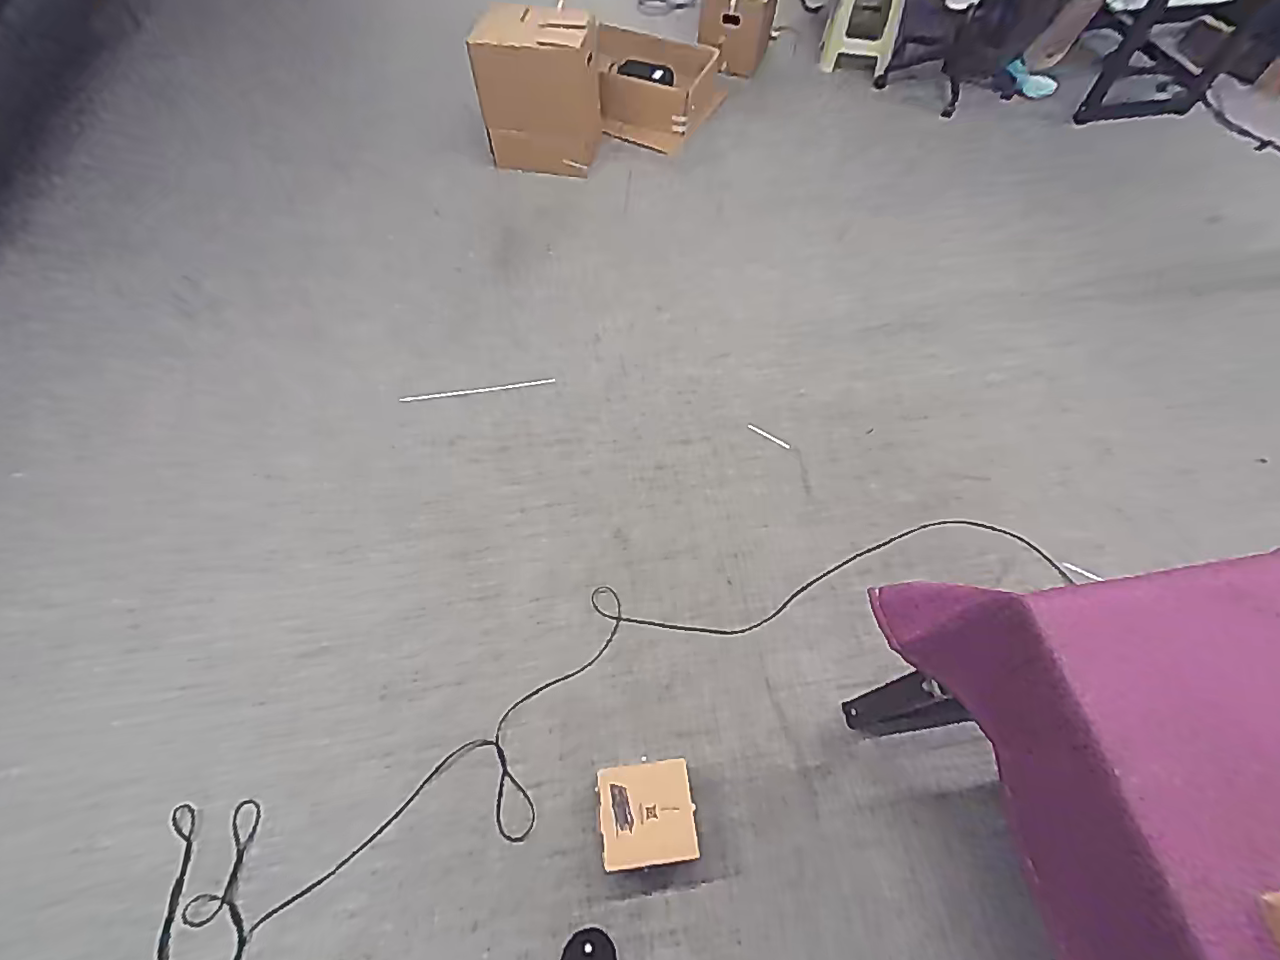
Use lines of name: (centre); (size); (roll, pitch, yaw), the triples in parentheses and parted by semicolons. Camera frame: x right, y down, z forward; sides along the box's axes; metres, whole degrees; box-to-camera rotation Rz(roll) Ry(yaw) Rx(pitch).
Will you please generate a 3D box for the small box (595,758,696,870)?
small box: (0.006, 0.664, 1.081); (0.179, 0.176, 0.168); (-5, 60, -5)
